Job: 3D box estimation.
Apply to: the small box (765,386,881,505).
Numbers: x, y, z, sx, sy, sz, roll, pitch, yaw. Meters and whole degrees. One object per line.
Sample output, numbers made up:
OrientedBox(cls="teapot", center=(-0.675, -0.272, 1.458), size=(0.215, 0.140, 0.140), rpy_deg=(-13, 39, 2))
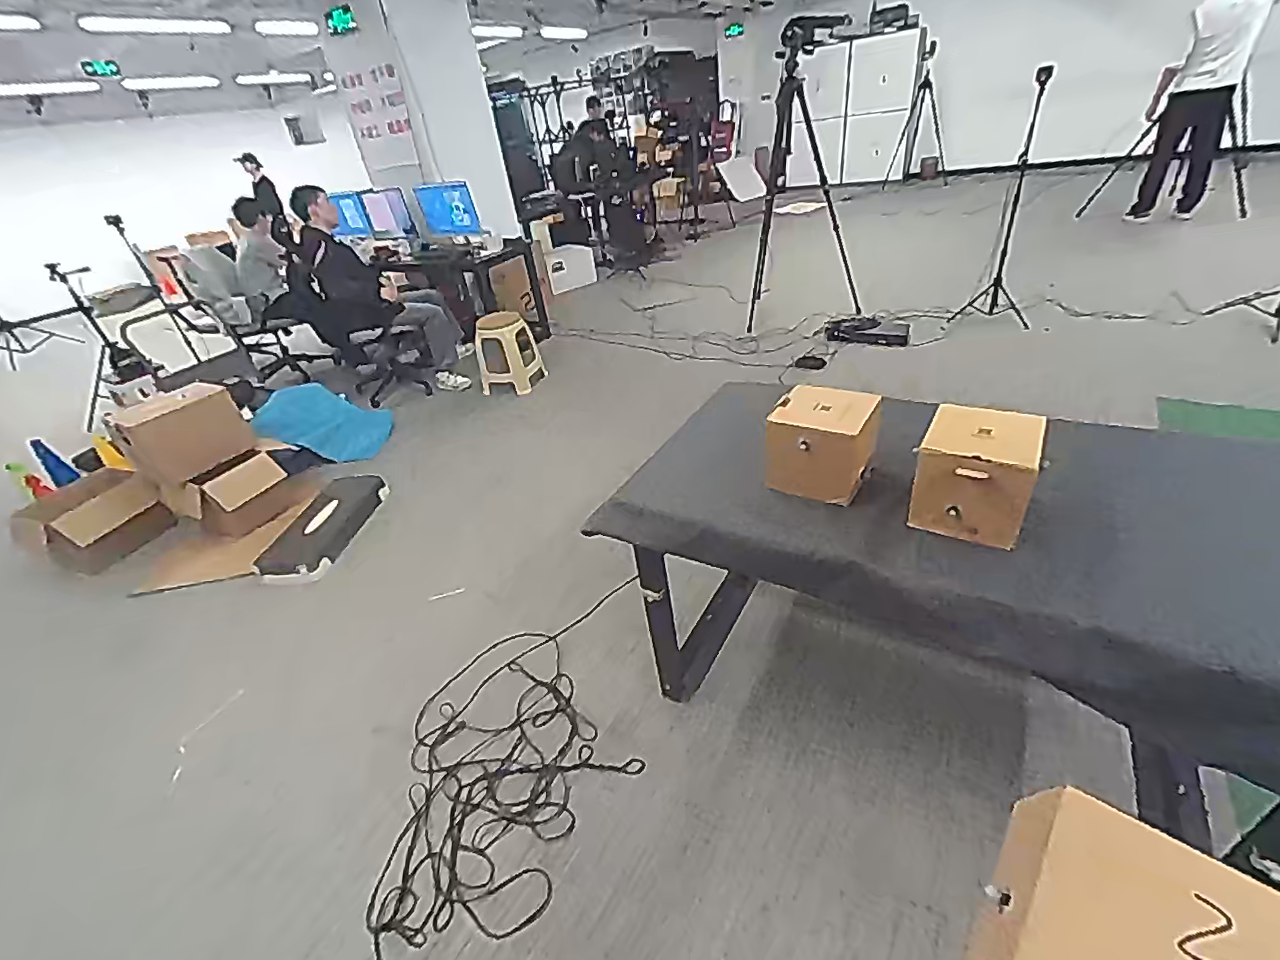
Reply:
OrientedBox(cls="small box", center=(0.367, -0.070, 1.096), size=(0.179, 0.176, 0.168), rpy_deg=(16, 42, 31))

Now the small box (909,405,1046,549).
OrientedBox(cls="small box", center=(0.587, -0.010, 0.951), size=(0.168, 0.176, 0.179), rpy_deg=(15, 41, 32))
